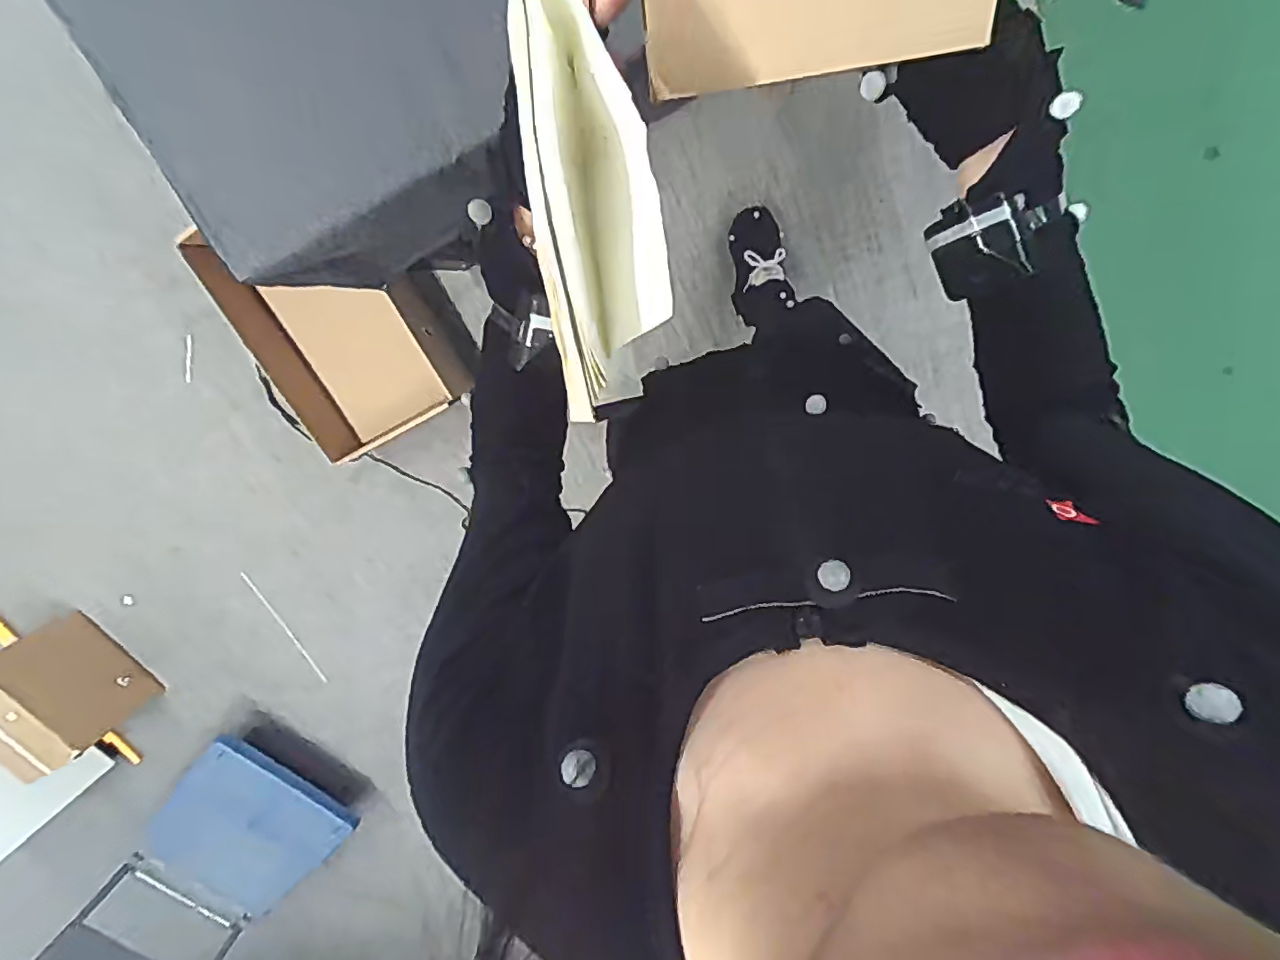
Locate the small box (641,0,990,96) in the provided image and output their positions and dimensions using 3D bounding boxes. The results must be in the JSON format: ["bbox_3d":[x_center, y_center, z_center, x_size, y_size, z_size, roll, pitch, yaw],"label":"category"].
[{"bbox_3d":[0.090,-0.335,0.307,0.179,0.176,0.168,-2,127,11],"label":"small box"}]
